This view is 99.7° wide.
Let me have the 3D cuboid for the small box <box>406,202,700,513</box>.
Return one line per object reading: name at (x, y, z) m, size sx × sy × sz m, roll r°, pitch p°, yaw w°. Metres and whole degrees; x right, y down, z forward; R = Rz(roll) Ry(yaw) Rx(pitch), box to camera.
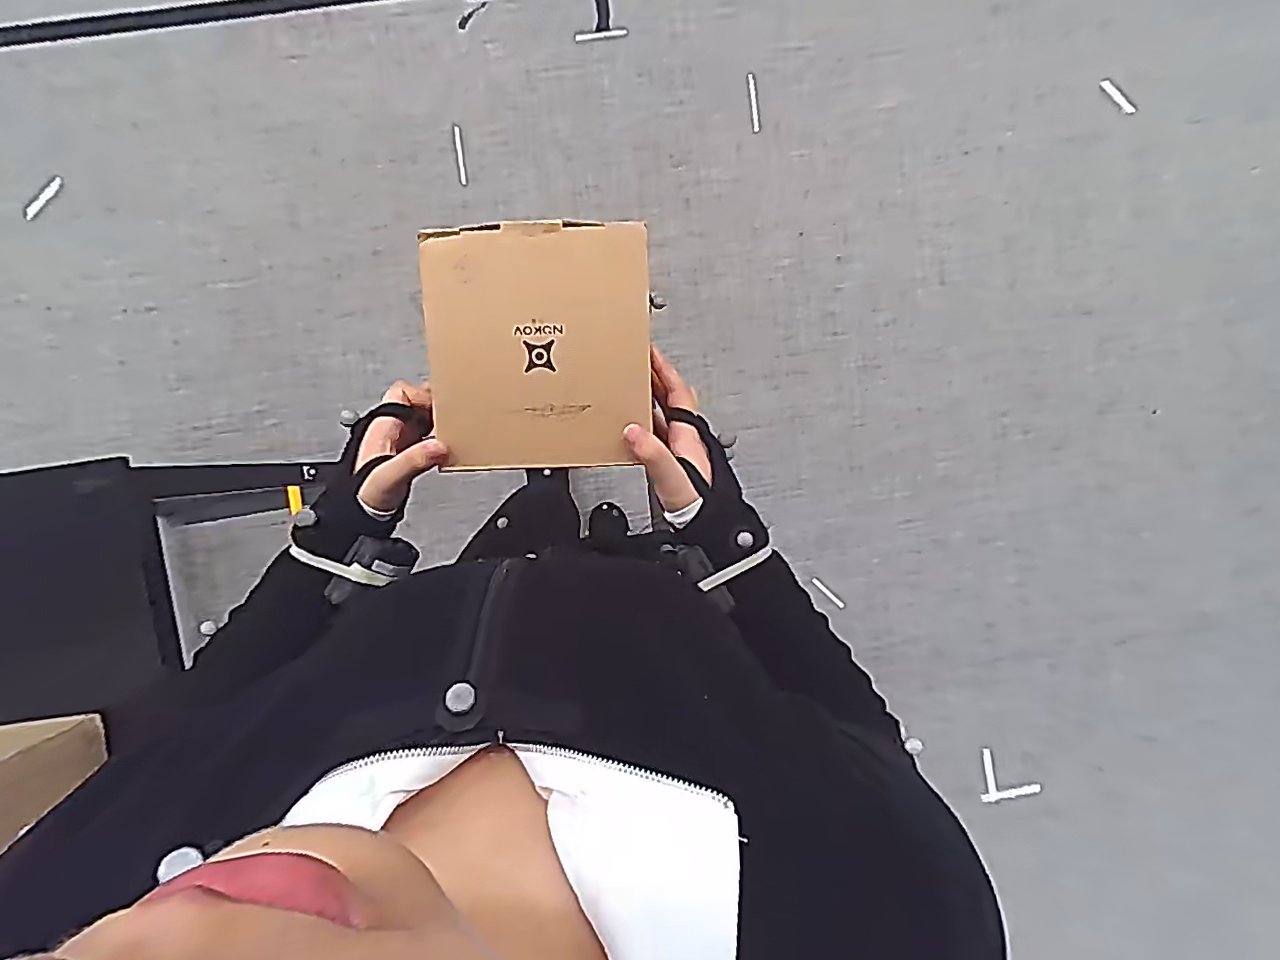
small box at (-0.048, -0.080, 0.393) m, size 0.168 × 0.176 × 0.179 m, roll -2°, pitch 100°, yaw 0°
